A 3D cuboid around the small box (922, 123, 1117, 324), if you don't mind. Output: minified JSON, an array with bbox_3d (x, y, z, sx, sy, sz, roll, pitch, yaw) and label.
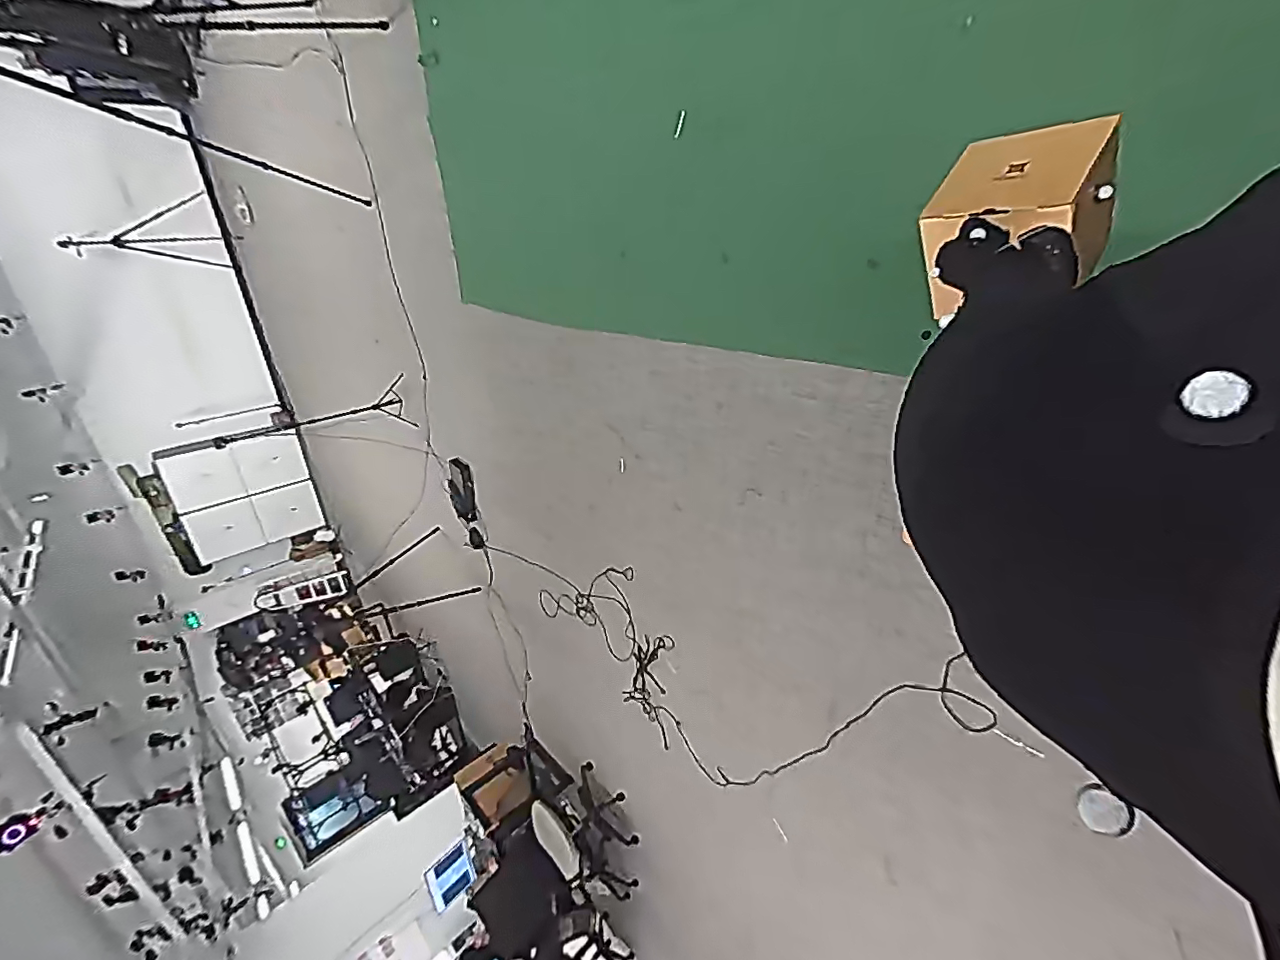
[{"bbox_3d":[0.514,-0.340,0.740,0.168,0.179,0.176,19,156,45],"label":"small box"}]
